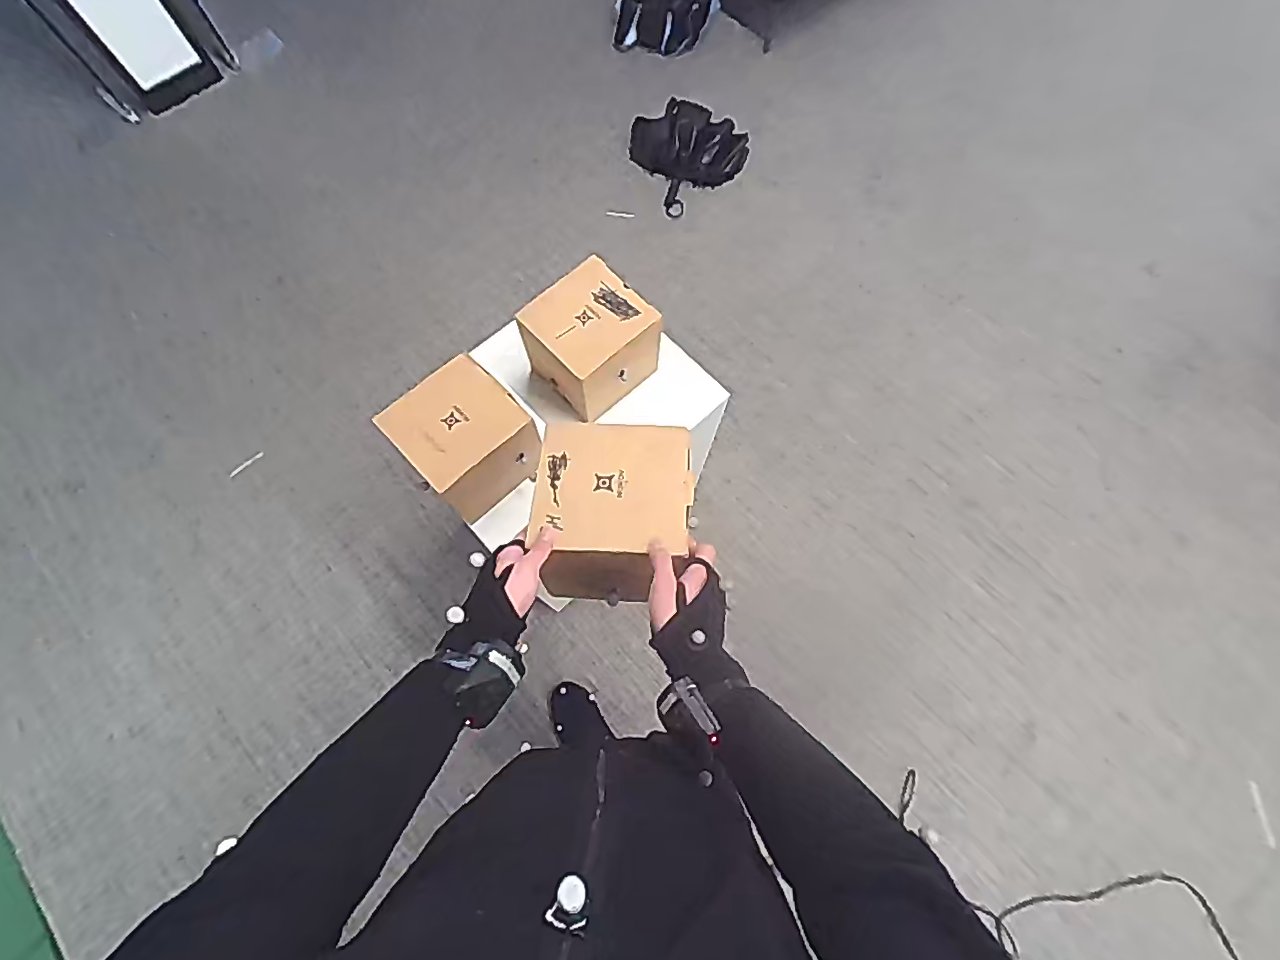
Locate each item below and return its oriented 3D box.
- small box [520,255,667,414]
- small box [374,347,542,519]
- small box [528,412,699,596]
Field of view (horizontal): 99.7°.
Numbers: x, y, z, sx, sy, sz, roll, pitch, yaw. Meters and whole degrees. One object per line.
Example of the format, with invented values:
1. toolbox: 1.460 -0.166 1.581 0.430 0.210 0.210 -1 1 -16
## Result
1. small box: -0.077 -0.236 0.925 0.179 0.176 0.168 -41 77 -14
2. small box: -0.272 -0.068 0.857 0.179 0.176 0.168 -42 76 -16
3. small box: -0.026 0.037 0.664 0.179 0.176 0.168 4 60 1
